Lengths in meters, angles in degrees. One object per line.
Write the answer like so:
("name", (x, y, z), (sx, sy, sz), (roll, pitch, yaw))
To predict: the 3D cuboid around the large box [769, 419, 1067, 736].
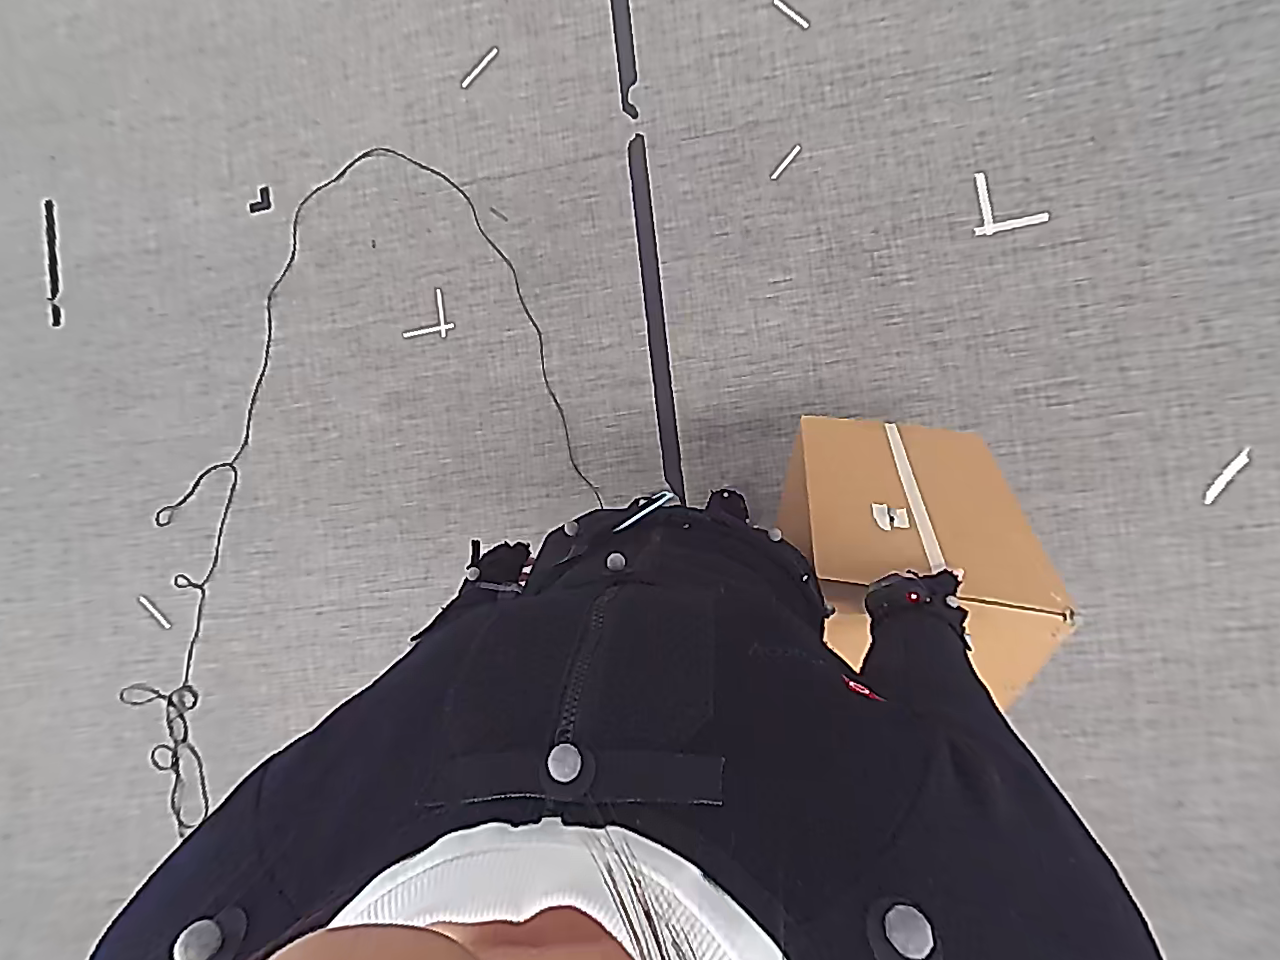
("large box", (0.400, 0.145, 0.915), (0.320, 0.408, 0.320), (7, 130, 9))
